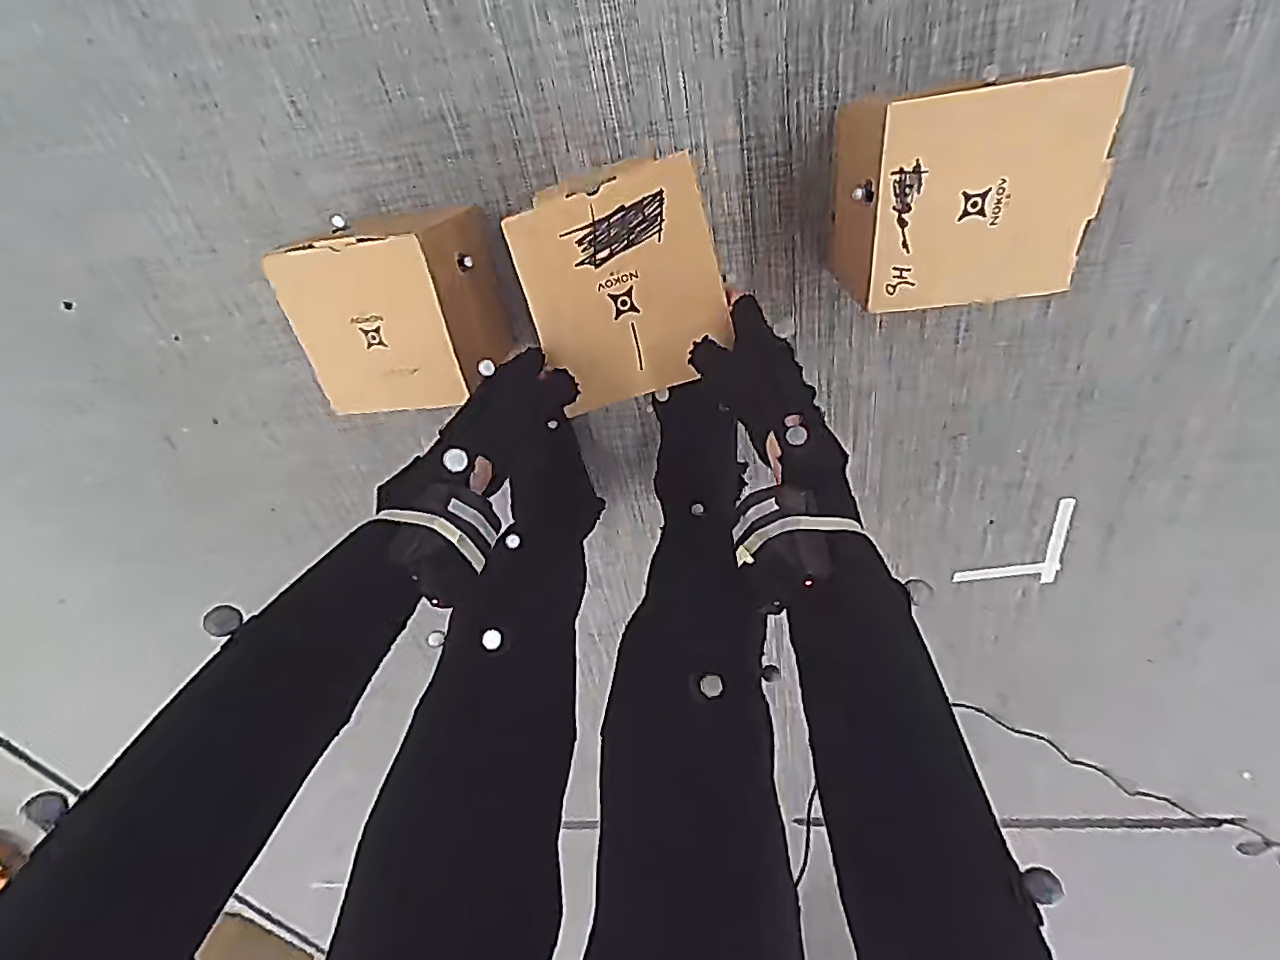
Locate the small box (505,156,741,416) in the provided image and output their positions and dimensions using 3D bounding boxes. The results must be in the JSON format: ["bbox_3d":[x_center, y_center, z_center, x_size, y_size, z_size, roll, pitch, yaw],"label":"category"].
[{"bbox_3d":[-0.004,-0.172,0.529,0.168,0.176,0.179,-14,101,11],"label":"small box"}]

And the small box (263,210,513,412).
[{"bbox_3d":[-0.262,-0.197,0.613,0.168,0.176,0.179,-3,125,9],"label":"small box"}]

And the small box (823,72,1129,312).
[{"bbox_3d":[0.288,-0.275,0.515,0.179,0.176,0.168,-5,124,6],"label":"small box"}]
